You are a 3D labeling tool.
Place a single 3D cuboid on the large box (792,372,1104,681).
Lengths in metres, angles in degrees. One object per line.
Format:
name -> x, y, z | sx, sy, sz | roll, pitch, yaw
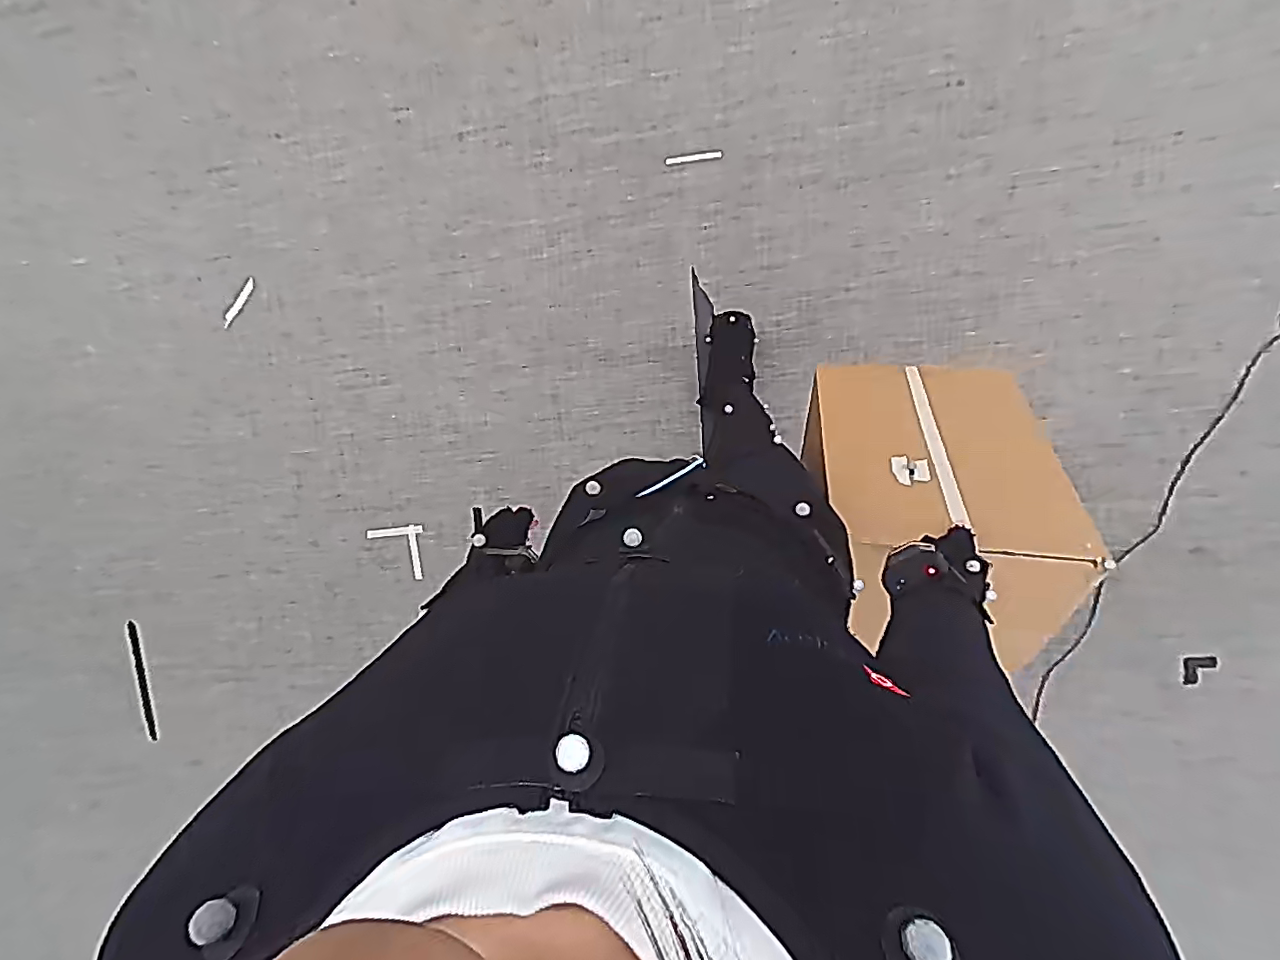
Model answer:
large box -> 0.439, 0.063, 0.903 | 0.320, 0.408, 0.320 | 3, 135, 10
